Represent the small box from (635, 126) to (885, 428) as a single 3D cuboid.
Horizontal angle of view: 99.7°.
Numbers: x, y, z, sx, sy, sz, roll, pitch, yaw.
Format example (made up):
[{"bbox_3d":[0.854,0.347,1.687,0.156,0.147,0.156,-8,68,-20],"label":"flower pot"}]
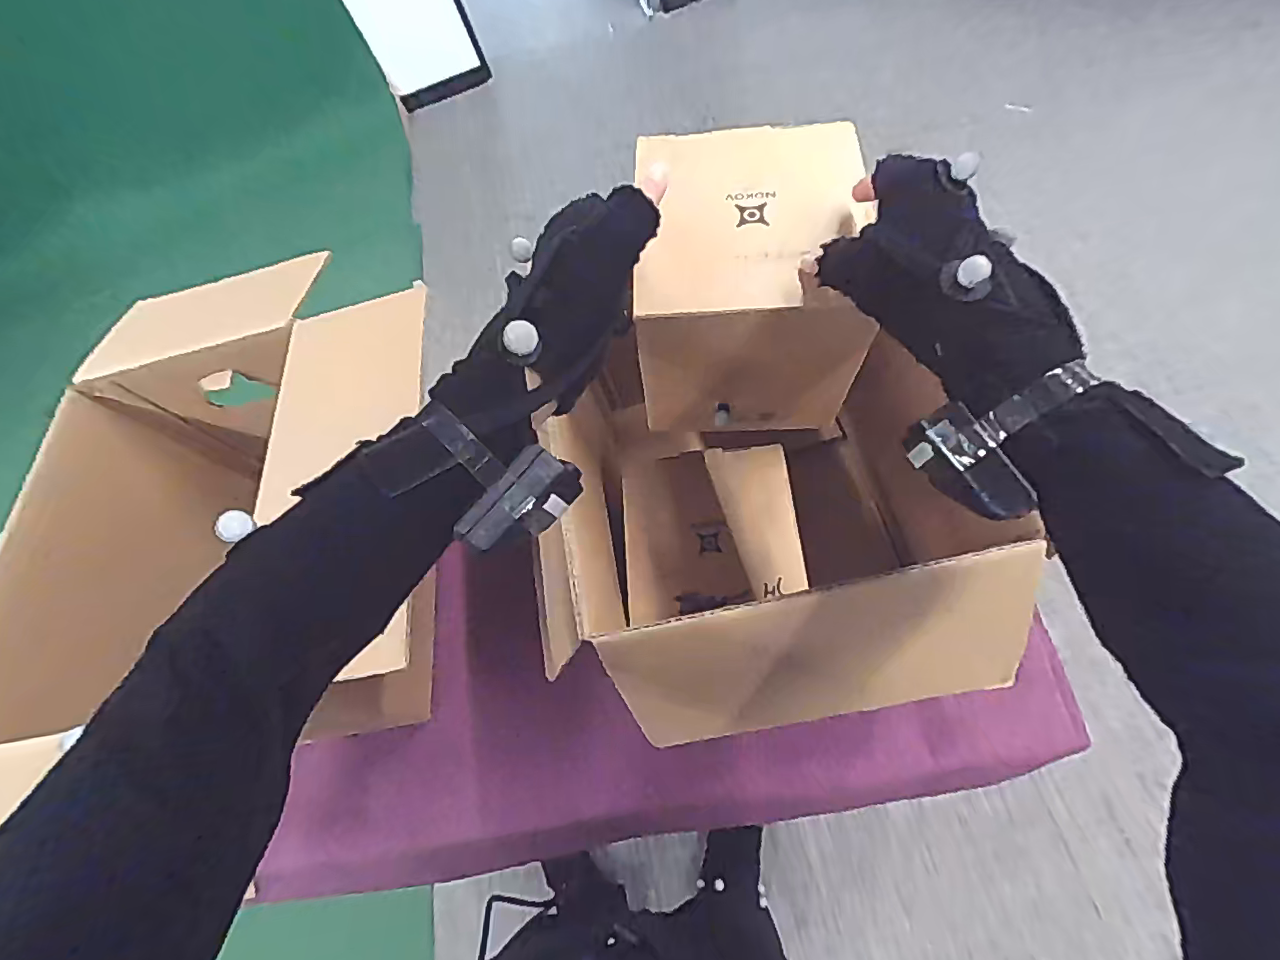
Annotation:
[{"bbox_3d":[0.087,-0.161,0.462,0.168,0.176,0.179,-1,66,6],"label":"small box"}]
